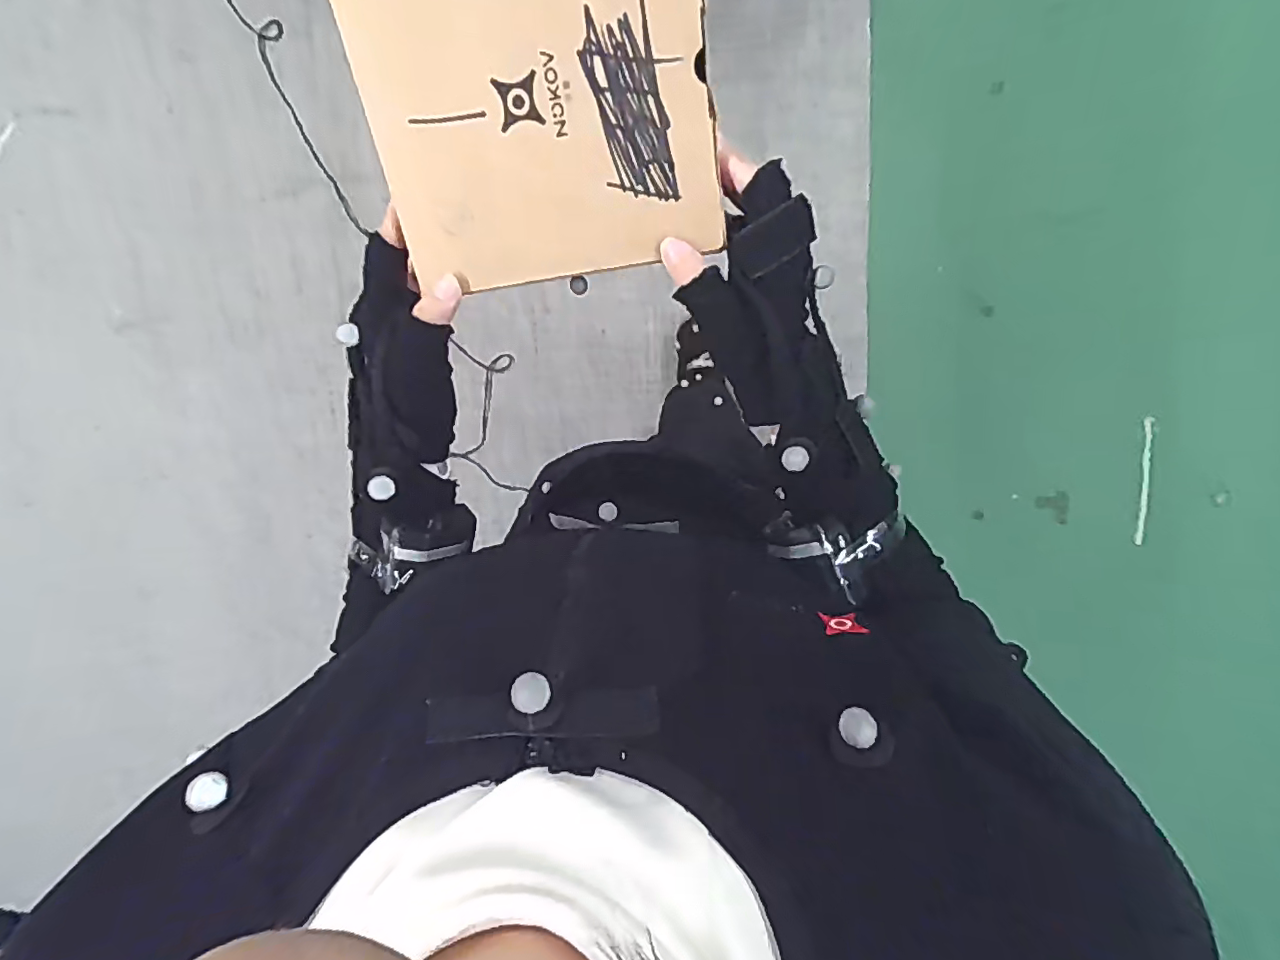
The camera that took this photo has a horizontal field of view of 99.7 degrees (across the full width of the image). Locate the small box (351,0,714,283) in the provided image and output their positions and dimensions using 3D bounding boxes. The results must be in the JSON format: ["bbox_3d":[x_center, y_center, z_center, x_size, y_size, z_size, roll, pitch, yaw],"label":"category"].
[{"bbox_3d":[-0.050,-0.237,0.363,0.179,0.176,0.168,-6,114,7],"label":"small box"}]

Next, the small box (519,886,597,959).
[{"bbox_3d":[-0.218,1.253,1.480,0.168,0.176,0.179,-6,99,6],"label":"small box"}]
